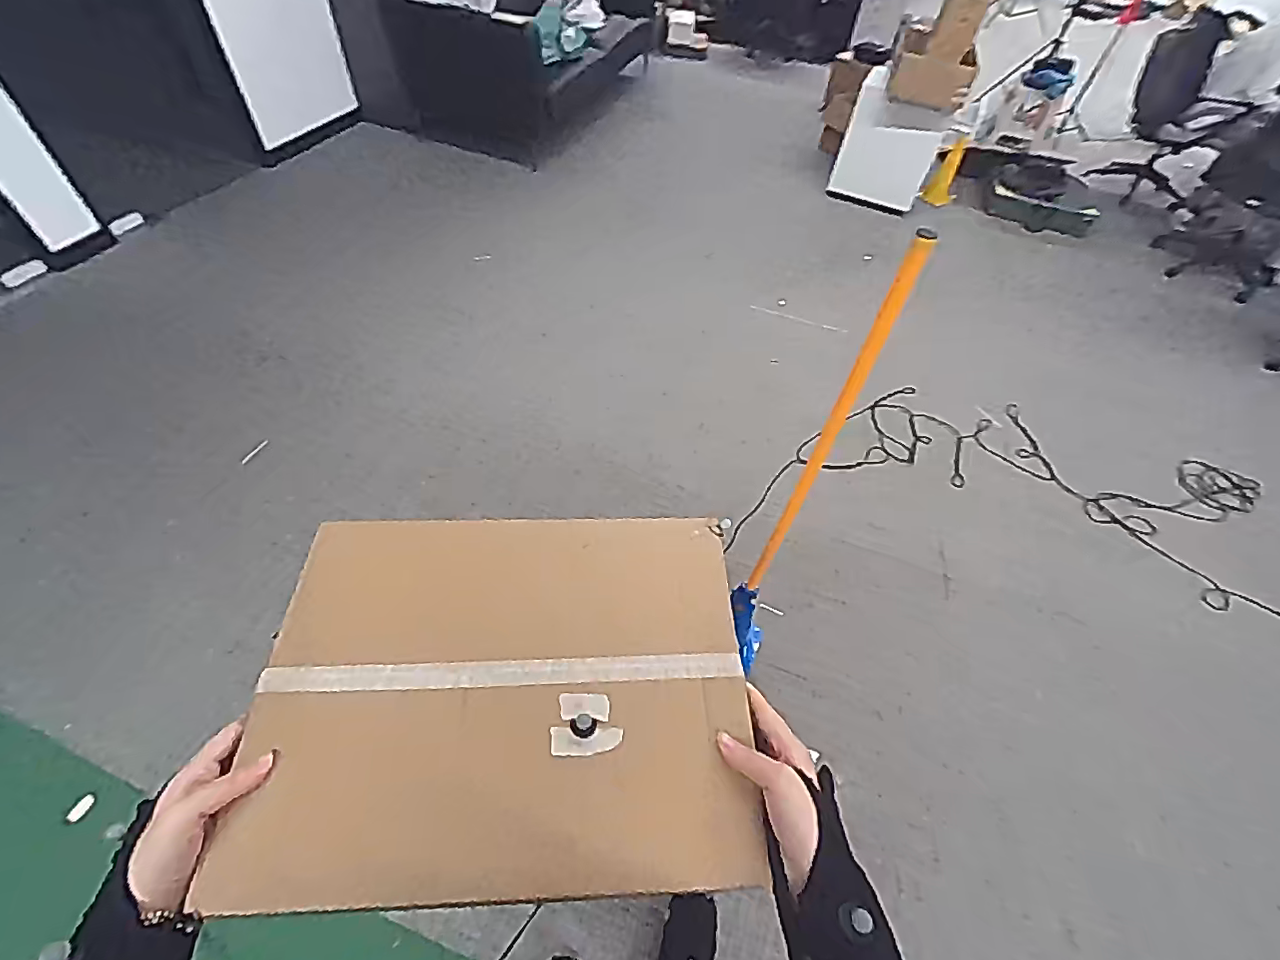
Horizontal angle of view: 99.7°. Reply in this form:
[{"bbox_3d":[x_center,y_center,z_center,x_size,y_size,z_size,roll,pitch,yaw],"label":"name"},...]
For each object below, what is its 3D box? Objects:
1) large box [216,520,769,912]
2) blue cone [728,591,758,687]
[{"bbox_3d":[-0.119,0.259,0.597,0.408,0.320,0.320,0,54,-5],"label":"large box"},{"bbox_3d":[0.243,0.382,1.416,0.193,0.380,0.192,26,54,14],"label":"blue cone"}]
